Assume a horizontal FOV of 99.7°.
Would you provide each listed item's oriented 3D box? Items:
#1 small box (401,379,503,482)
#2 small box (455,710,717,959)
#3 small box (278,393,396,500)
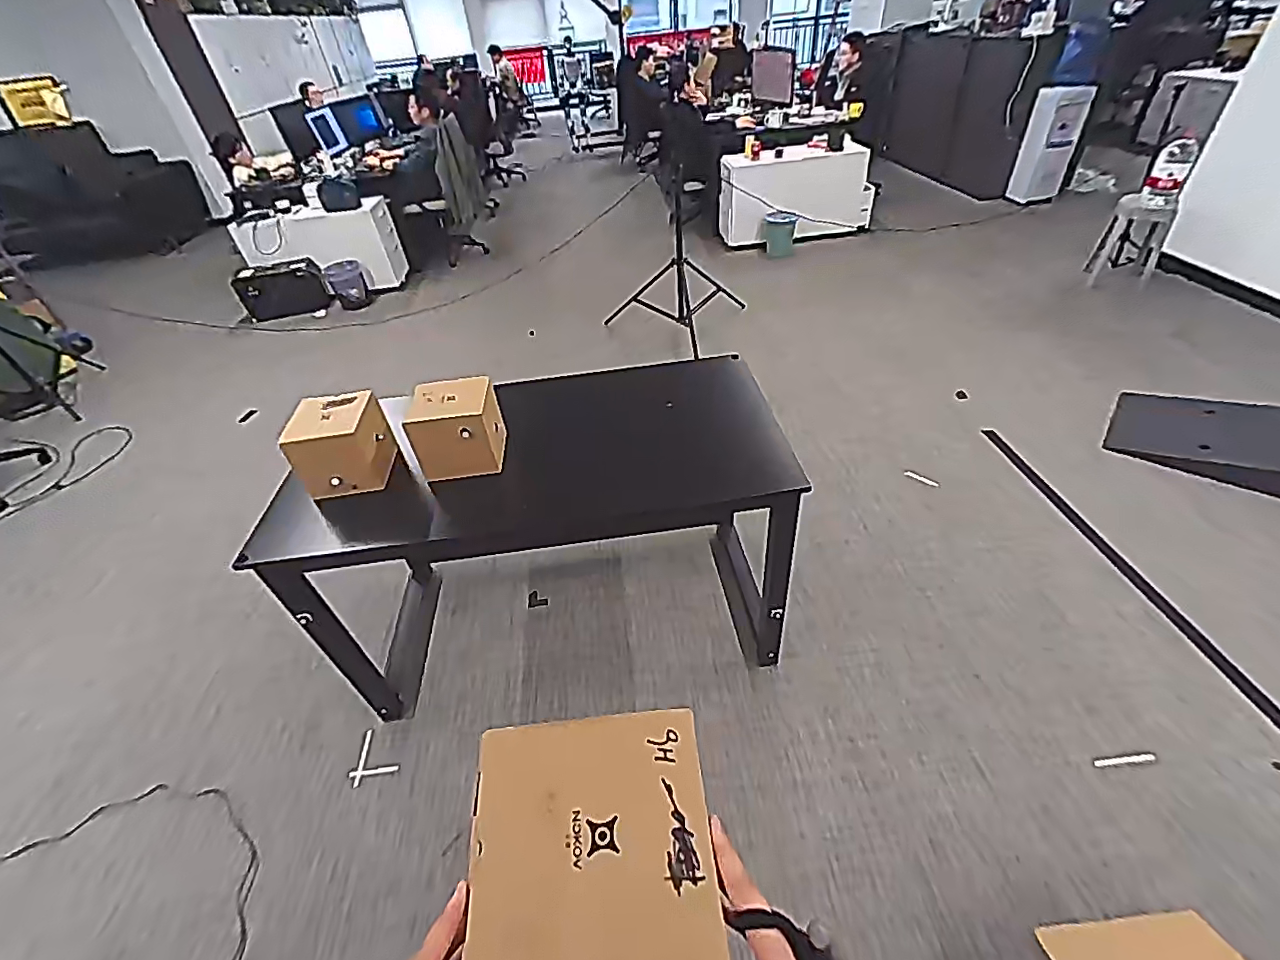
[{"bbox_3d":[-0.428,-0.115,1.269,0.179,0.176,0.168,-8,40,-2],"label":"small box"},{"bbox_3d":[-0.038,0.314,0.459,0.179,0.176,0.168,-5,50,-2],"label":"small box"},{"bbox_3d":[-0.692,-0.078,1.261,0.168,0.176,0.179,-9,42,-3],"label":"small box"}]
